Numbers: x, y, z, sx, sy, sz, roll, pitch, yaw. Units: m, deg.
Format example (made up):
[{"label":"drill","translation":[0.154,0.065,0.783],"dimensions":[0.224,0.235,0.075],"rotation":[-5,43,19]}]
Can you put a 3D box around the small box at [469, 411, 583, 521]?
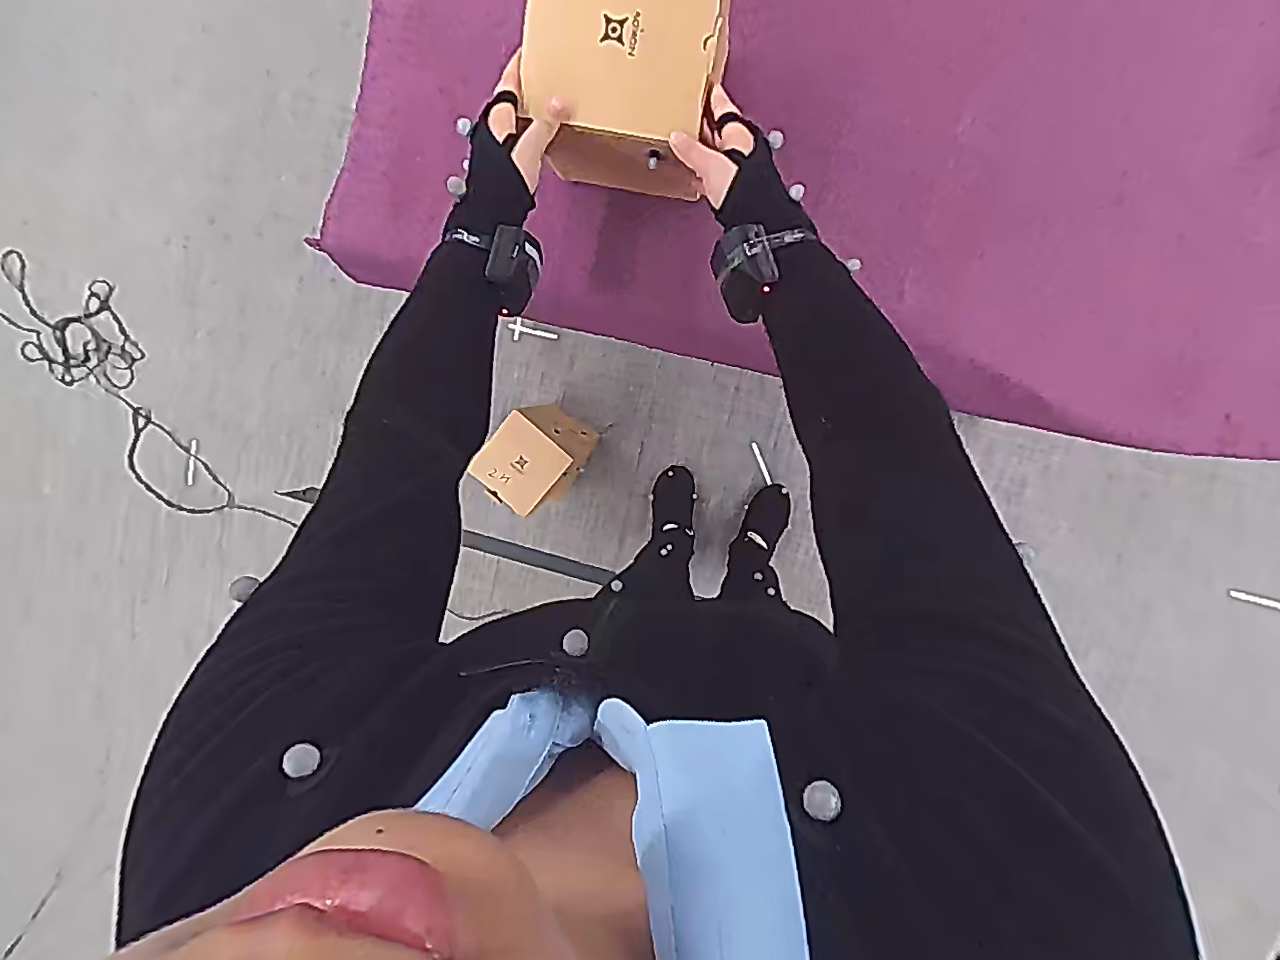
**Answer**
[{"label":"small box","translation":[-0.245,-0.041,1.217],"dimensions":[0.168,0.176,0.179],"rotation":[41,101,-2]}]

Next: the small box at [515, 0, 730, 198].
[{"label":"small box","translation":[-0.010,-0.414,0.561],"dimensions":[0.179,0.176,0.168],"rotation":[11,102,3]}]
